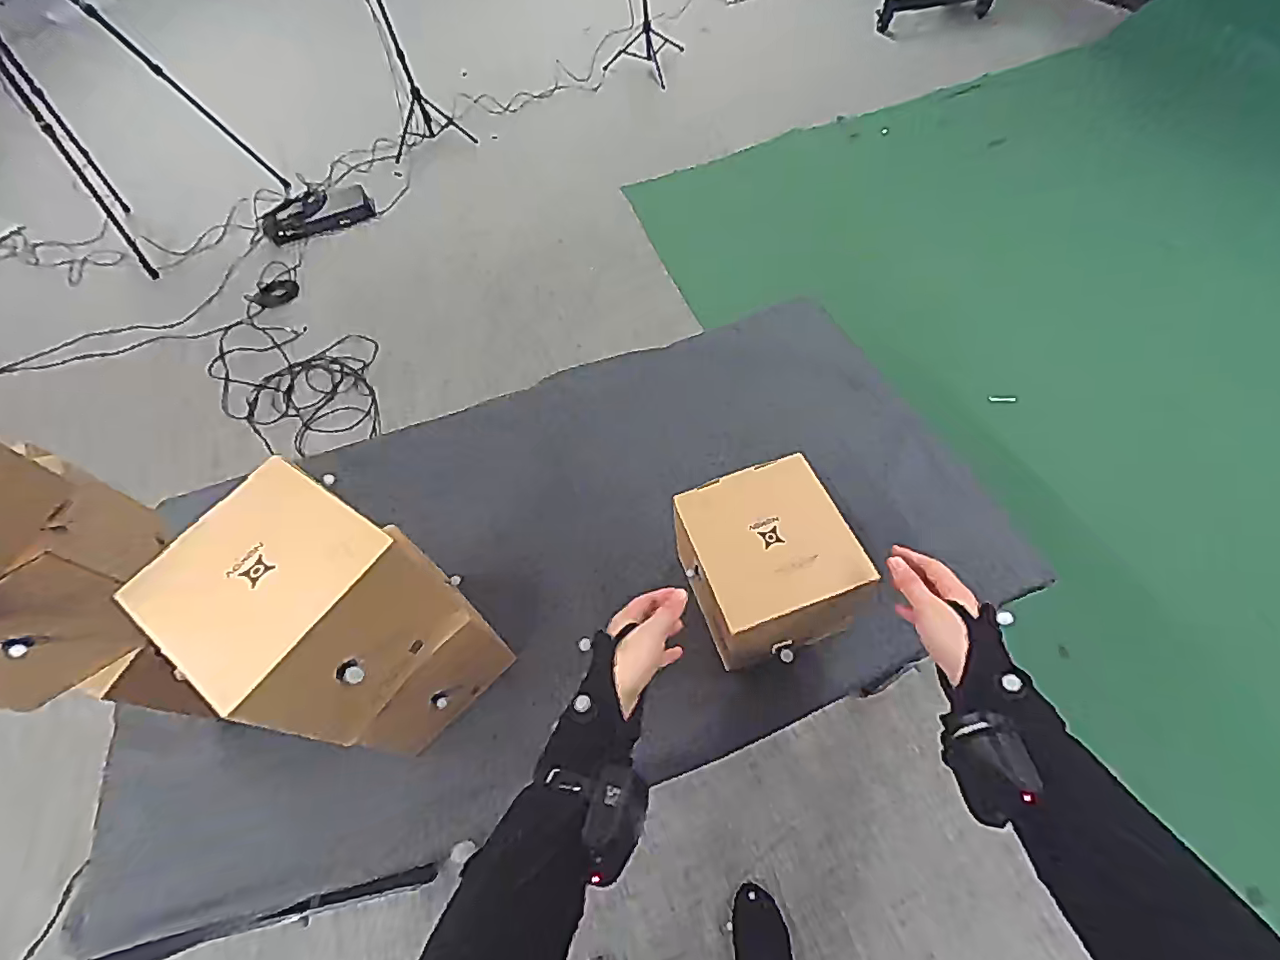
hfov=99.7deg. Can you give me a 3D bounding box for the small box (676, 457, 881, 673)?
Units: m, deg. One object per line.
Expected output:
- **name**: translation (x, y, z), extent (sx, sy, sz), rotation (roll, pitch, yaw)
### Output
- **small box**: translation (0.152, 0.107, 0.653), extent (0.168, 0.176, 0.179), rotation (-20, 57, -4)

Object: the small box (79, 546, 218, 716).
- **small box**: translation (-0.609, 0.188, 0.700), extent (0.179, 0.176, 0.168), rotation (15, 61, 15)

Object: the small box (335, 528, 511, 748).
- **small box**: translation (-0.285, 0.197, 0.652), extent (0.168, 0.176, 0.179), rotation (-42, 62, -19)

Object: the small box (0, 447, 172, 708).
- **small box**: translation (-0.625, 0.105, 0.559), extent (0.179, 0.176, 0.168), rotation (-36, 62, -14)

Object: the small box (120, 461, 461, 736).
- **small box**: translation (-0.306, 0.118, 0.512), extent (0.179, 0.176, 0.168), rotation (27, 65, 23)
